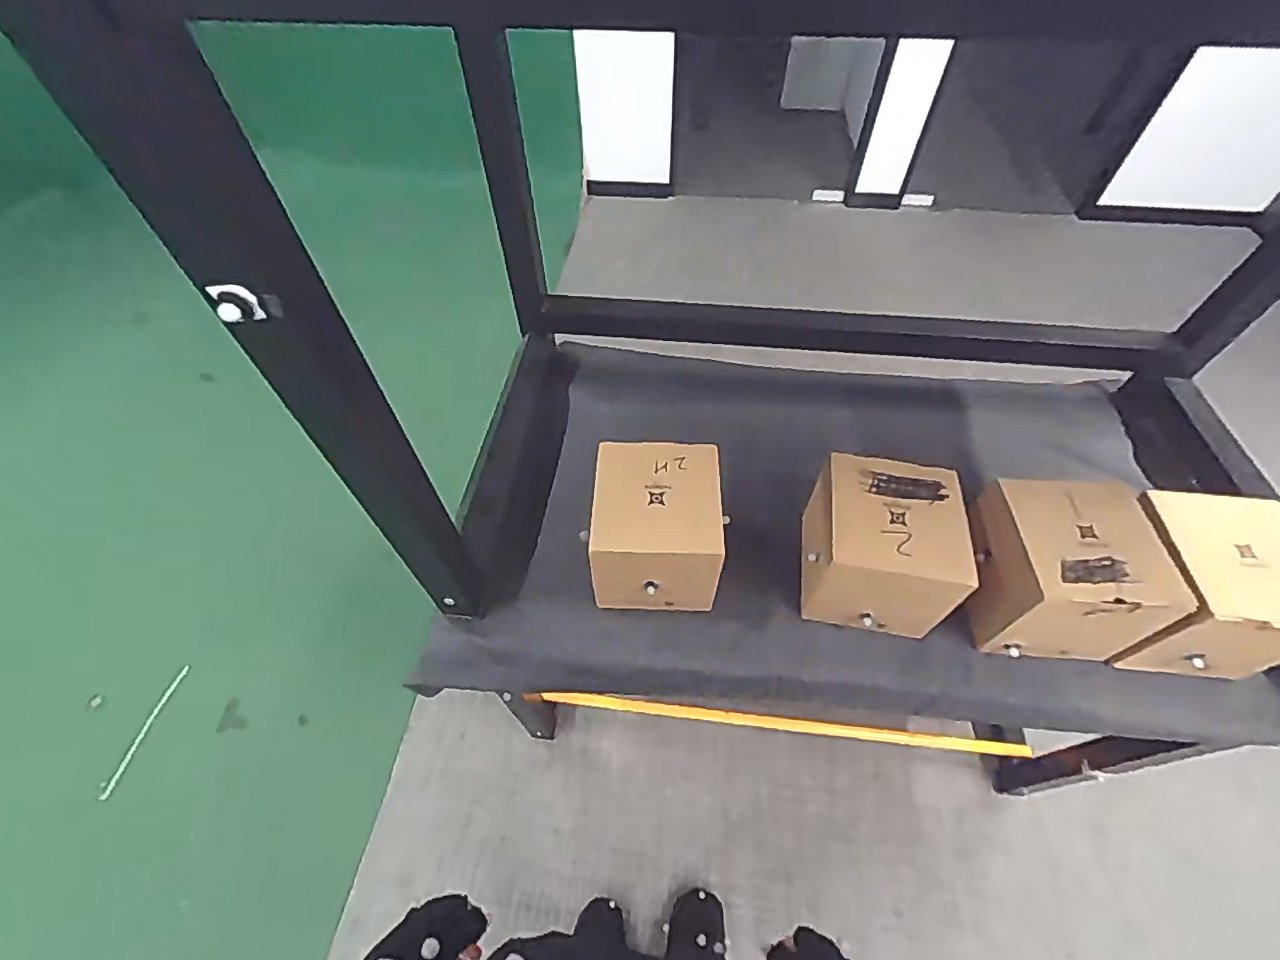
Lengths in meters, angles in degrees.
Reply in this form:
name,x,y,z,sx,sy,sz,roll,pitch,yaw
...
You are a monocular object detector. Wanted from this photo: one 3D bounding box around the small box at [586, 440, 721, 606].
name,x,y,z,sx,sy,sz,roll,pitch,yaw
small box,0.021,0.065,0.759,0.168,0.176,0.179,2,52,1
